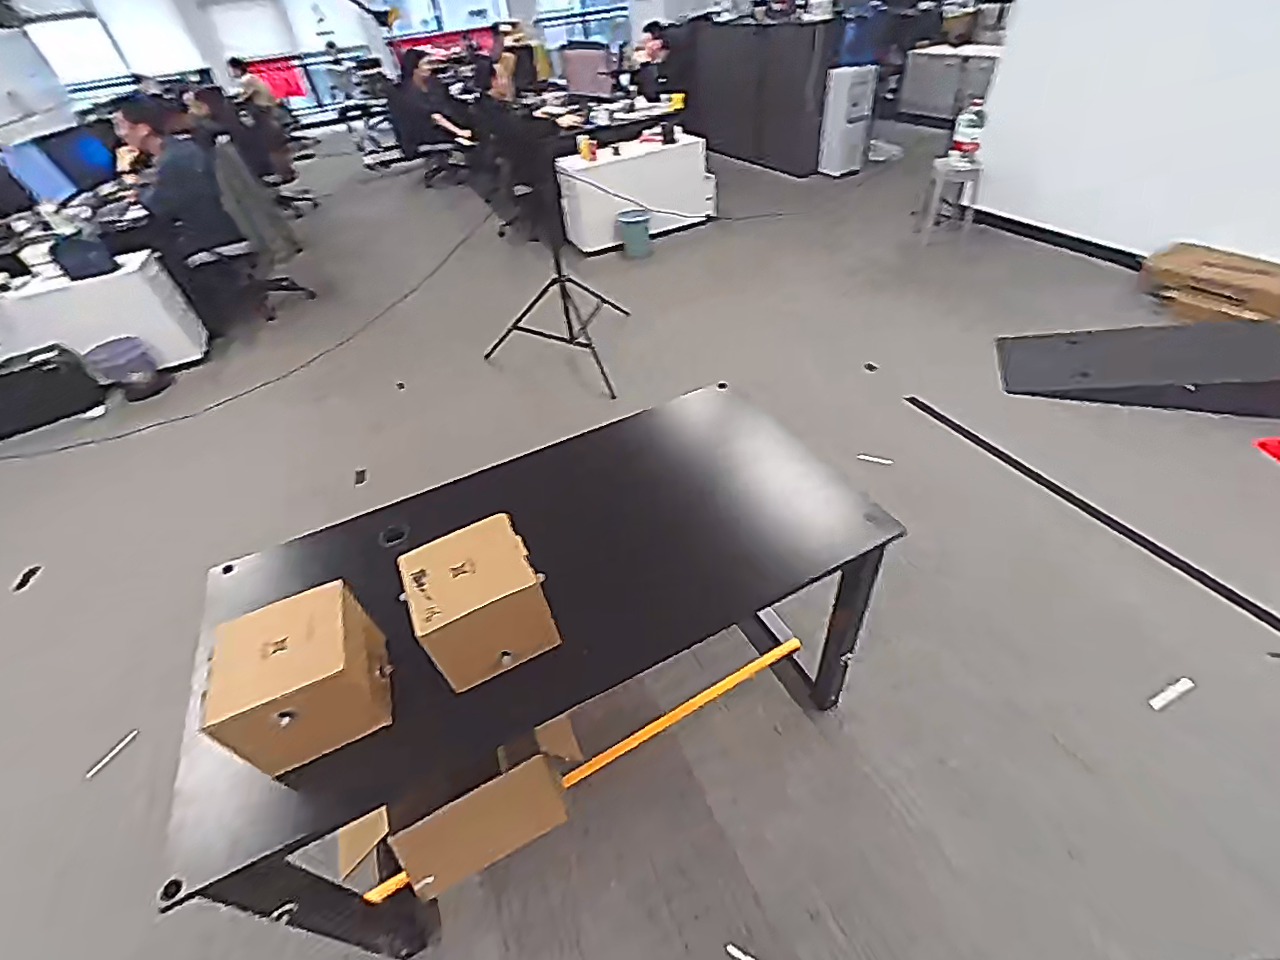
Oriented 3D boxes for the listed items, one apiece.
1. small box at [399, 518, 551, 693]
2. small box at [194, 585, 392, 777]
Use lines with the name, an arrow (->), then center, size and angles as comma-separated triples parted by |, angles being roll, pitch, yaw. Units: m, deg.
small box -> -0.251, 0.196, 0.849 | 0.179, 0.176, 0.168 | -23, 44, -17
small box -> -0.487, 0.291, 0.781 | 0.179, 0.176, 0.168 | -21, 45, -16
